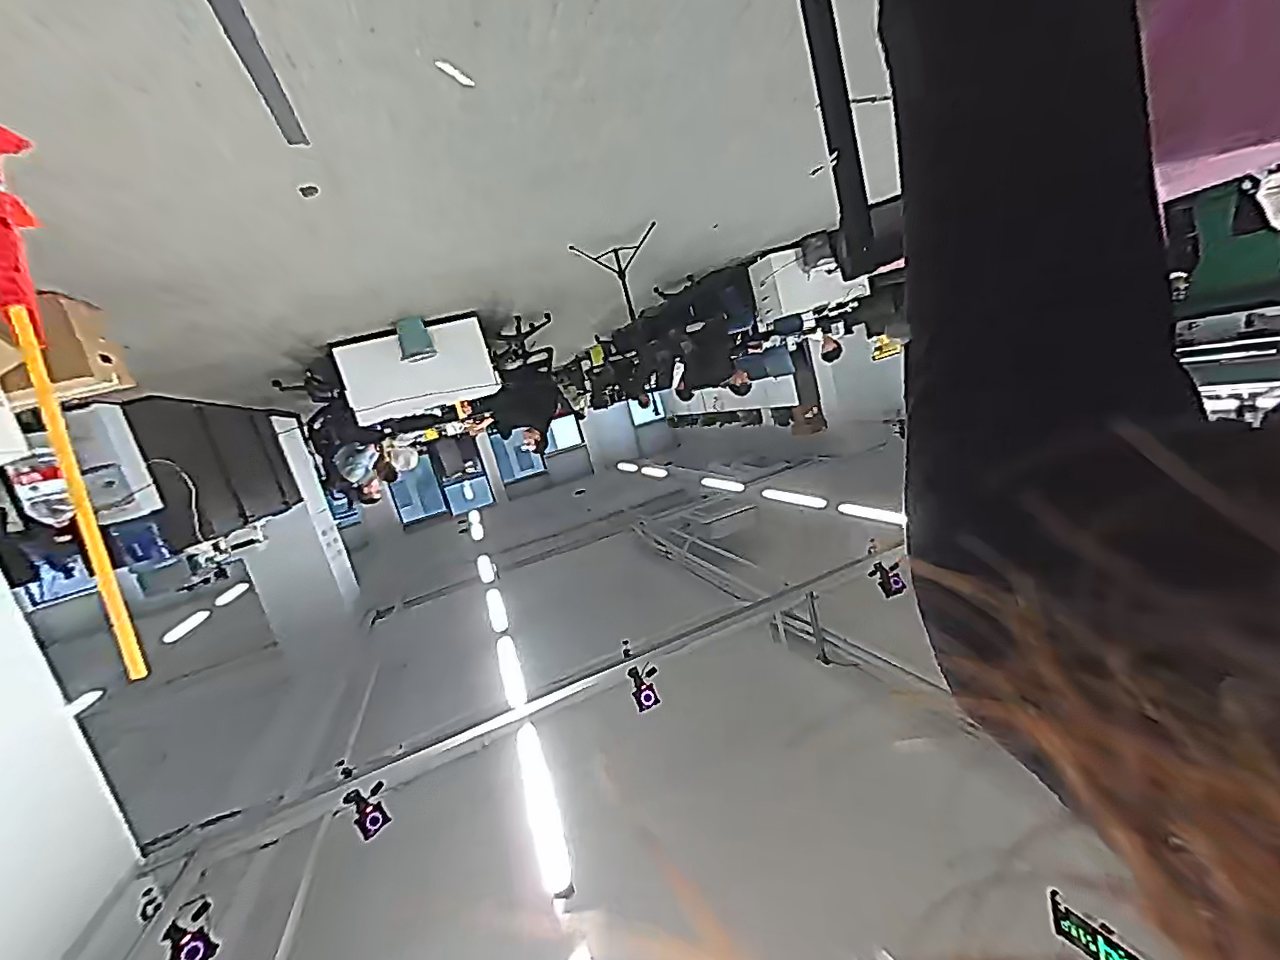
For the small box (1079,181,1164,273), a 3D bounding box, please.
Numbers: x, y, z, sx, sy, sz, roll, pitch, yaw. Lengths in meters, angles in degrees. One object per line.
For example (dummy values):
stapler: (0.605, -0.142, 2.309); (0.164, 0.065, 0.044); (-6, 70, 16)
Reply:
small box: (1.054, -0.575, 1.261); (0.168, 0.176, 0.179); (-17, -170, -8)
